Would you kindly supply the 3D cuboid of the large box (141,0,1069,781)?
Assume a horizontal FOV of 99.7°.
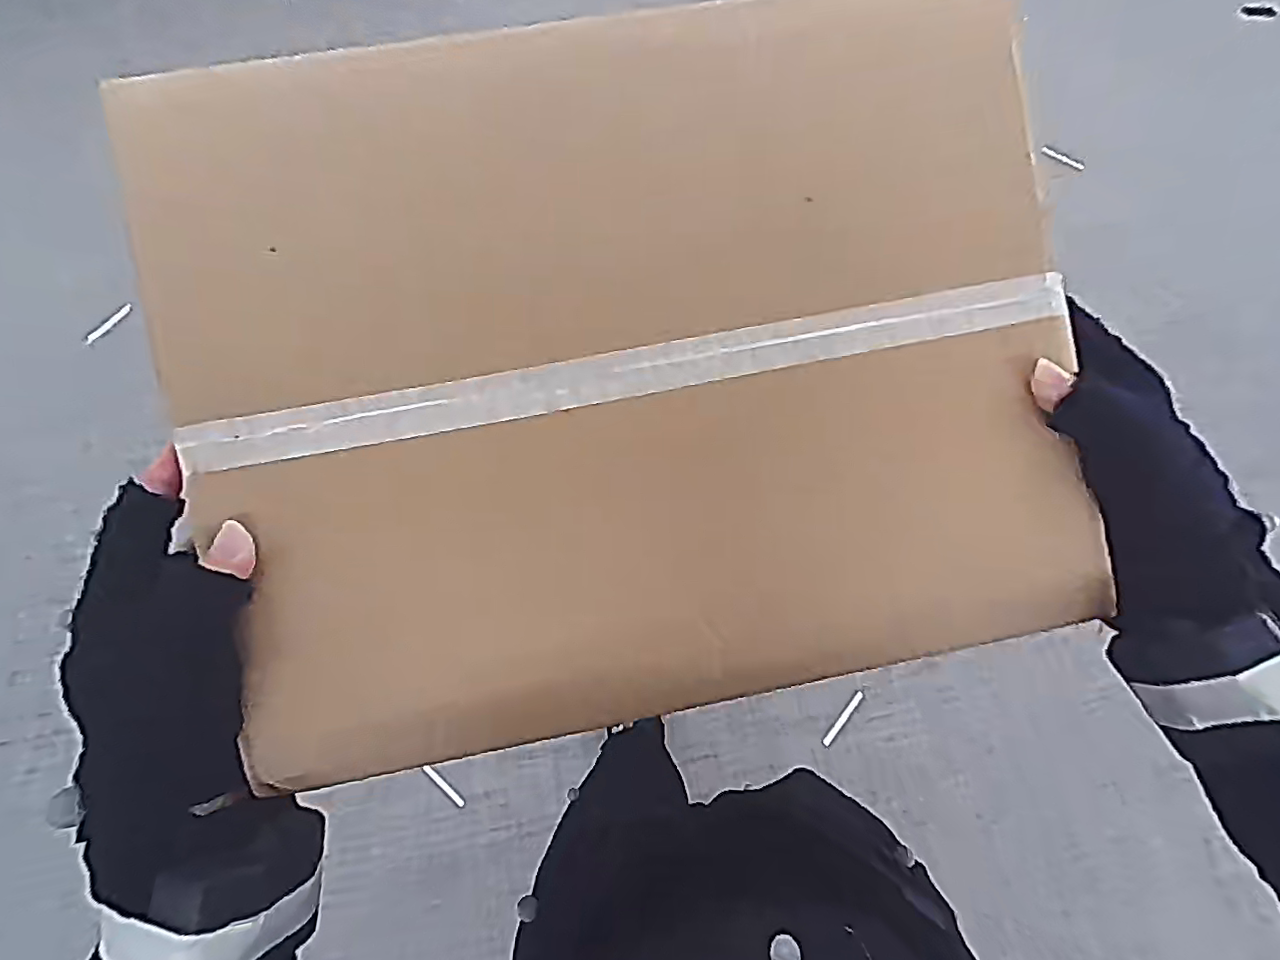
[{"bbox_3d":[-0.010,-0.052,0.406,0.408,0.320,0.320,-11,91,-4],"label":"large box"}]
